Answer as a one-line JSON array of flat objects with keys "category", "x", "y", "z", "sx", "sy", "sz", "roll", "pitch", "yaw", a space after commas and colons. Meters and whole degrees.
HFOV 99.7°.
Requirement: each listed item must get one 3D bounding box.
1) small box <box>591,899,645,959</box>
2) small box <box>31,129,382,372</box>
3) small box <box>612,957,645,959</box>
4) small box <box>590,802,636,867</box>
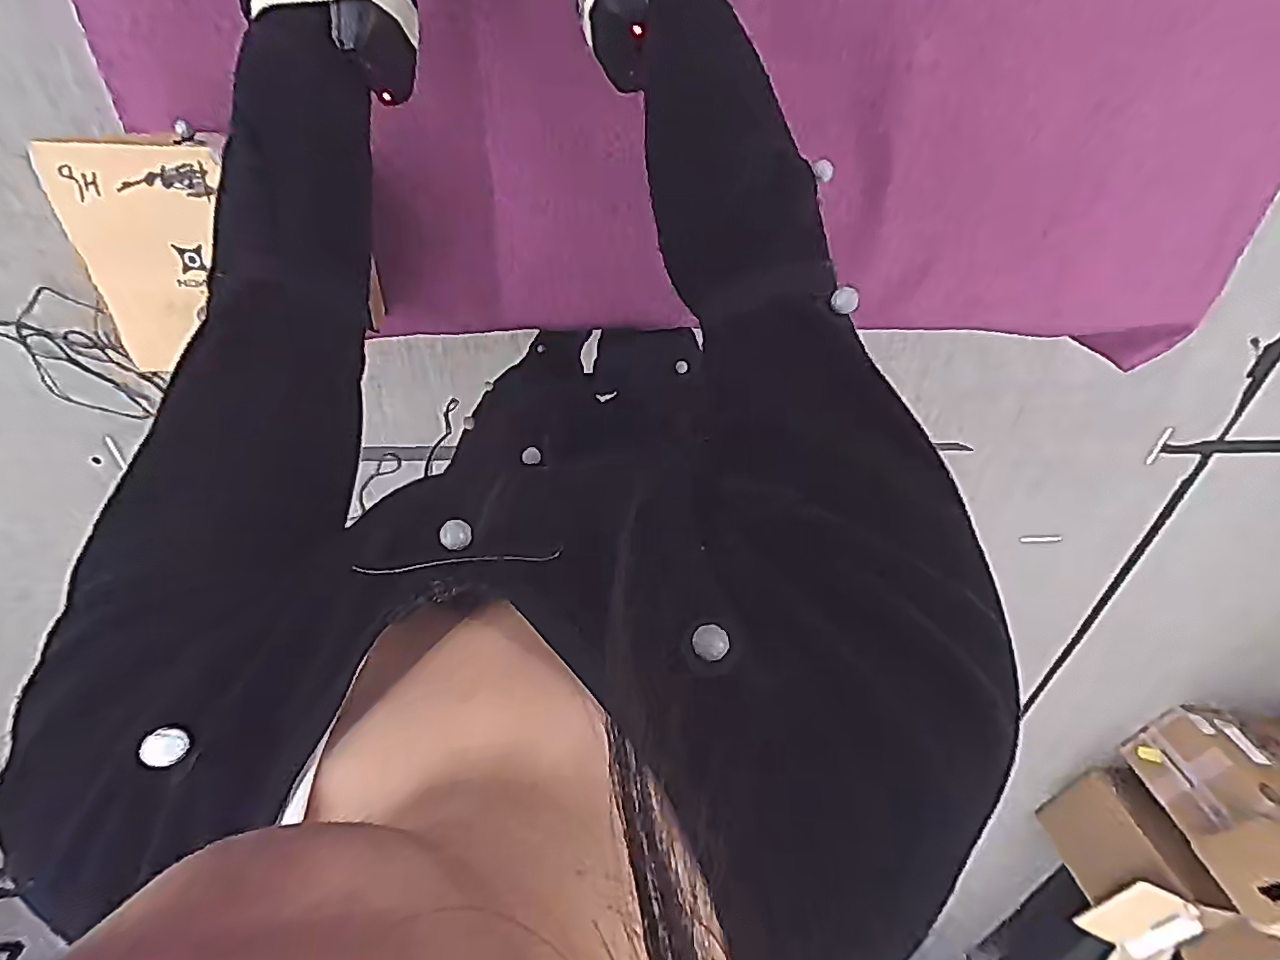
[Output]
[{"category": "small box", "x": -0.082, "y": 1.608, "z": 1.904, "sx": 0.179, "sy": 0.176, "sz": 0.168, "roll": 1, "pitch": 124, "yaw": -6}, {"category": "small box", "x": -0.363, "y": -0.216, "z": 0.504, "sx": 0.168, "sy": 0.176, "sz": 0.179, "roll": -1, "pitch": 124, "yaw": -5}, {"category": "small box", "x": -0.070, "y": 1.700, "z": 1.771, "sx": 0.179, "sy": 0.176, "sz": 0.168, "roll": 1, "pitch": 123, "yaw": -7}, {"category": "small box", "x": -0.110, "y": 1.422, "z": 2.174, "sx": 0.179, "sy": 0.176, "sz": 0.168, "roll": -1, "pitch": 123, "yaw": -3}]
